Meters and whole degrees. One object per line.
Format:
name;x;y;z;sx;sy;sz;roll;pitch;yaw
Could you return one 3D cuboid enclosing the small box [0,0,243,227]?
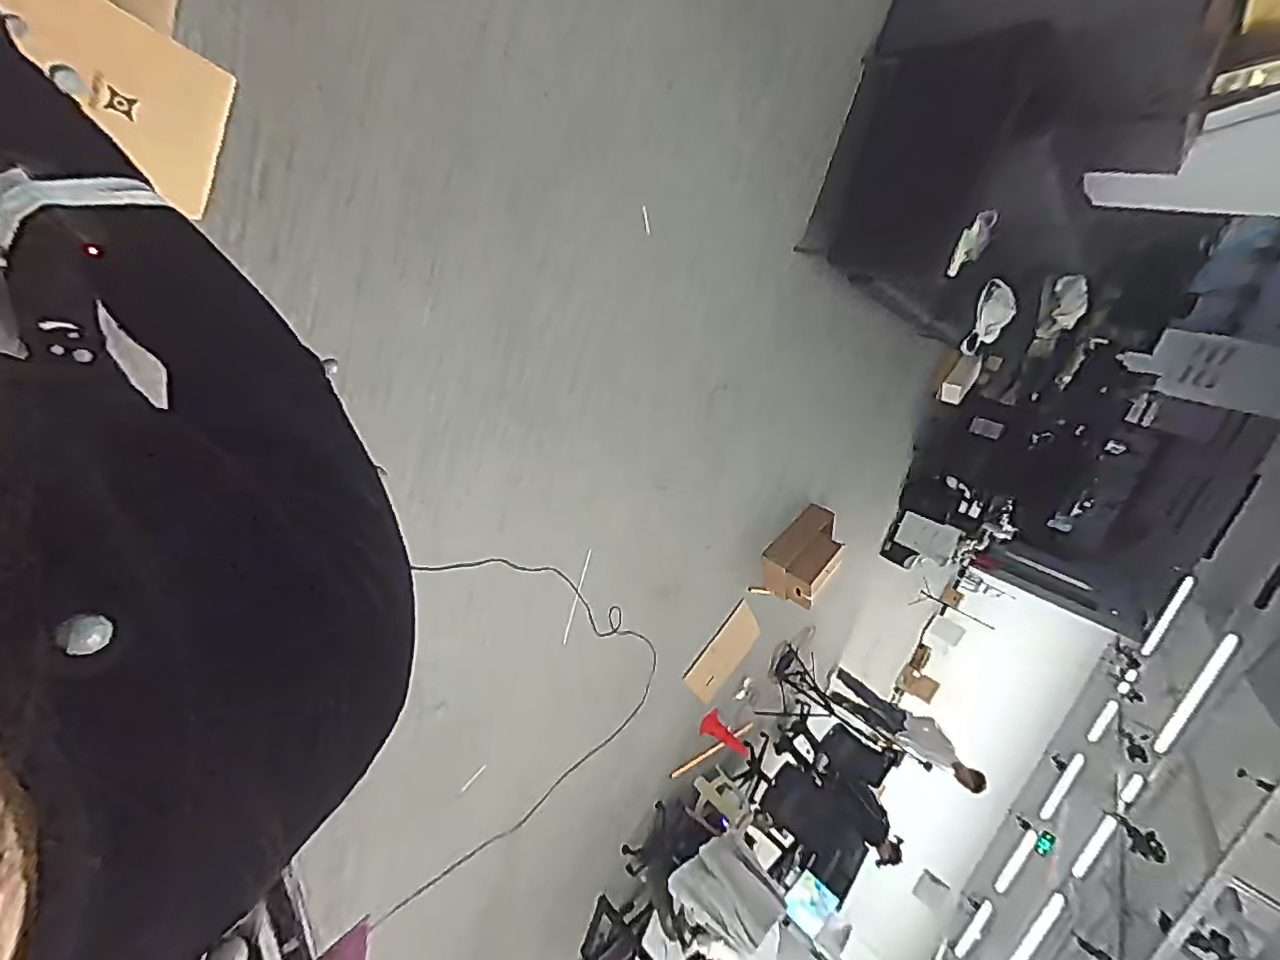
small box;-0.580;-0.406;0.594;0.179;0.176;0.168;11;103;-52
